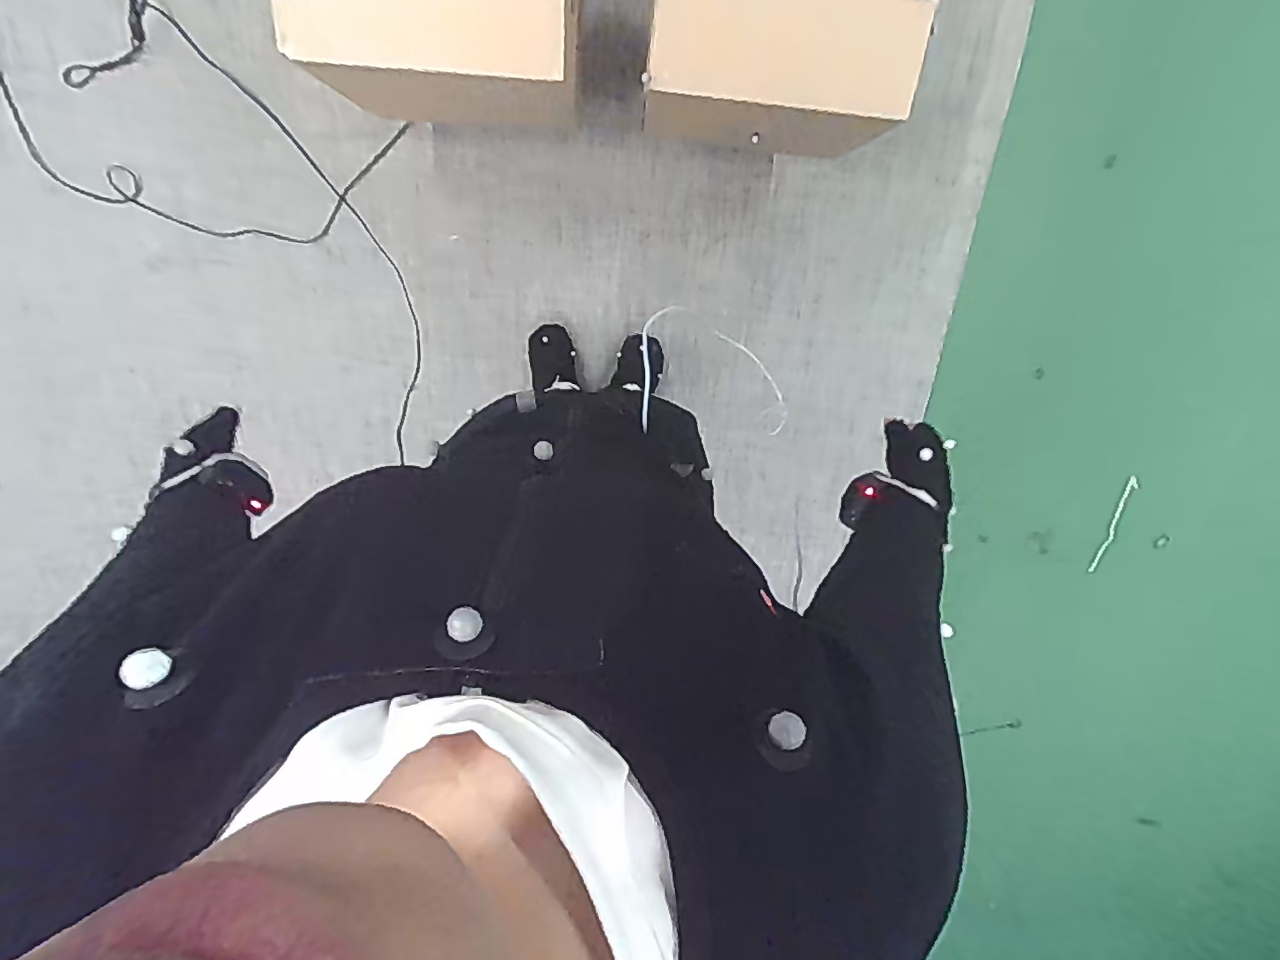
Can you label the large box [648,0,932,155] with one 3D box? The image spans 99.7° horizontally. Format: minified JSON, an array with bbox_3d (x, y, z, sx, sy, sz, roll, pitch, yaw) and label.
[{"bbox_3d":[0.231,-0.771,0.919,0.408,0.320,0.320,5,111,-3],"label":"large box"}]
